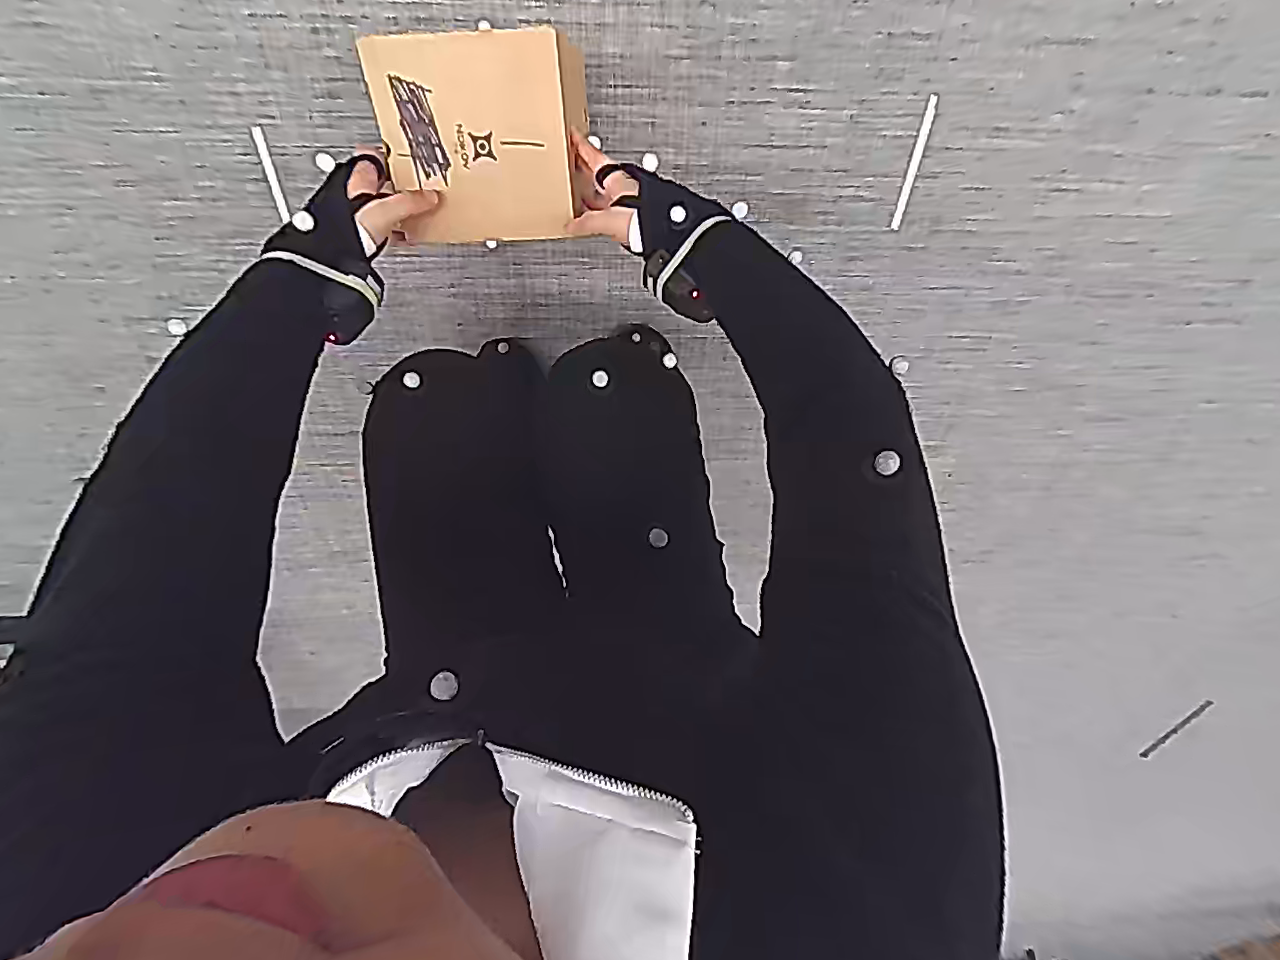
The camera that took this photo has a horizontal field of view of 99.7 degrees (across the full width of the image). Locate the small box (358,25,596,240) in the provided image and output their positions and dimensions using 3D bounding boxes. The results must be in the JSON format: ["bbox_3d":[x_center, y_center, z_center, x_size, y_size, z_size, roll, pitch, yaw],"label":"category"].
[{"bbox_3d":[-0.147,-0.350,0.560,0.179,0.176,0.168,0,124,3],"label":"small box"}]
